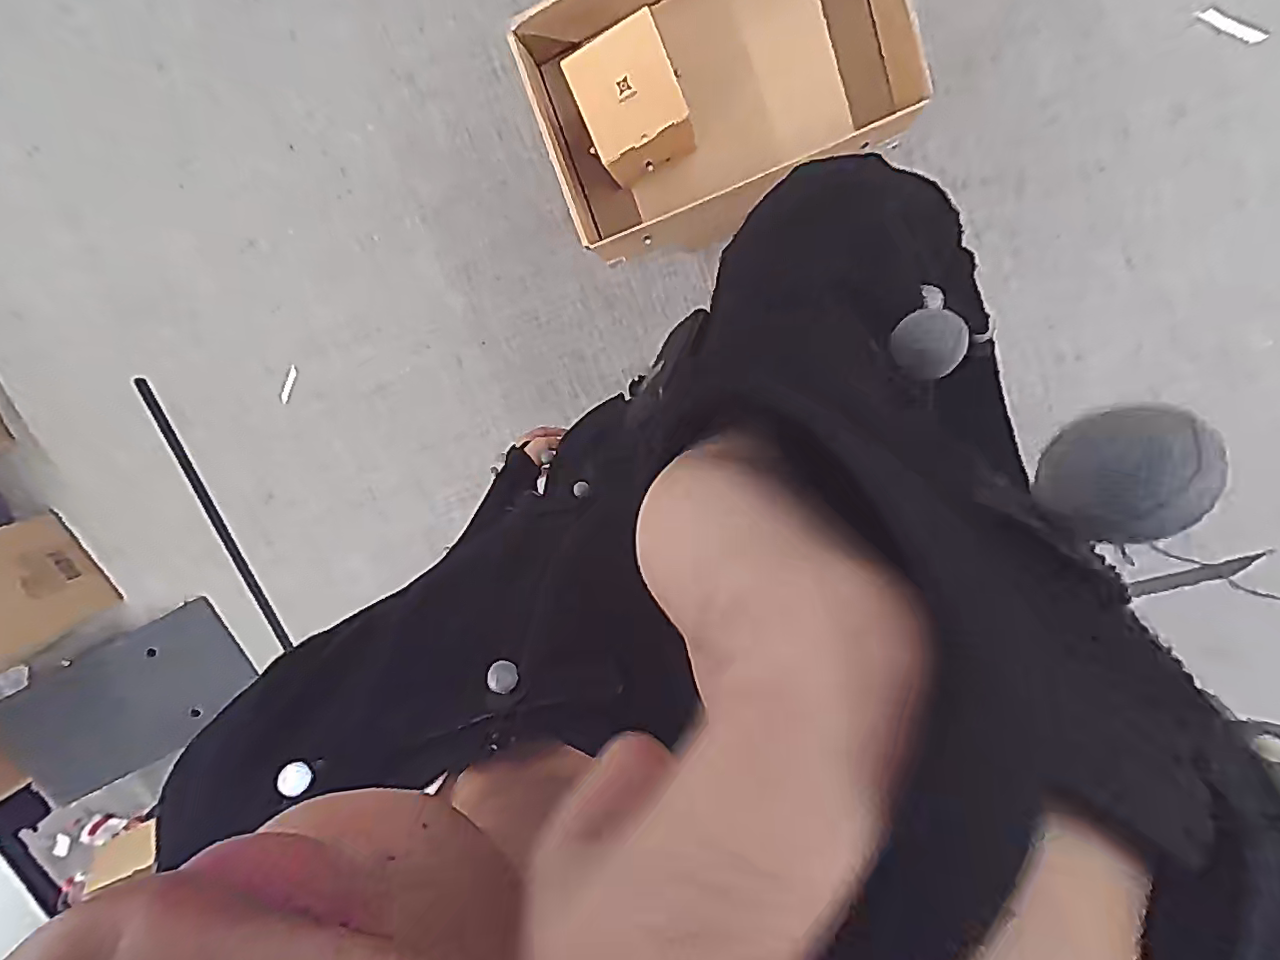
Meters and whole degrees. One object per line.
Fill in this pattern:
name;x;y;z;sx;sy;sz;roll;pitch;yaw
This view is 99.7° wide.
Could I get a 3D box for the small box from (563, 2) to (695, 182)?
small box;-0.010;-0.672;0.964;0.168;0.176;0.179;-23;101;15
